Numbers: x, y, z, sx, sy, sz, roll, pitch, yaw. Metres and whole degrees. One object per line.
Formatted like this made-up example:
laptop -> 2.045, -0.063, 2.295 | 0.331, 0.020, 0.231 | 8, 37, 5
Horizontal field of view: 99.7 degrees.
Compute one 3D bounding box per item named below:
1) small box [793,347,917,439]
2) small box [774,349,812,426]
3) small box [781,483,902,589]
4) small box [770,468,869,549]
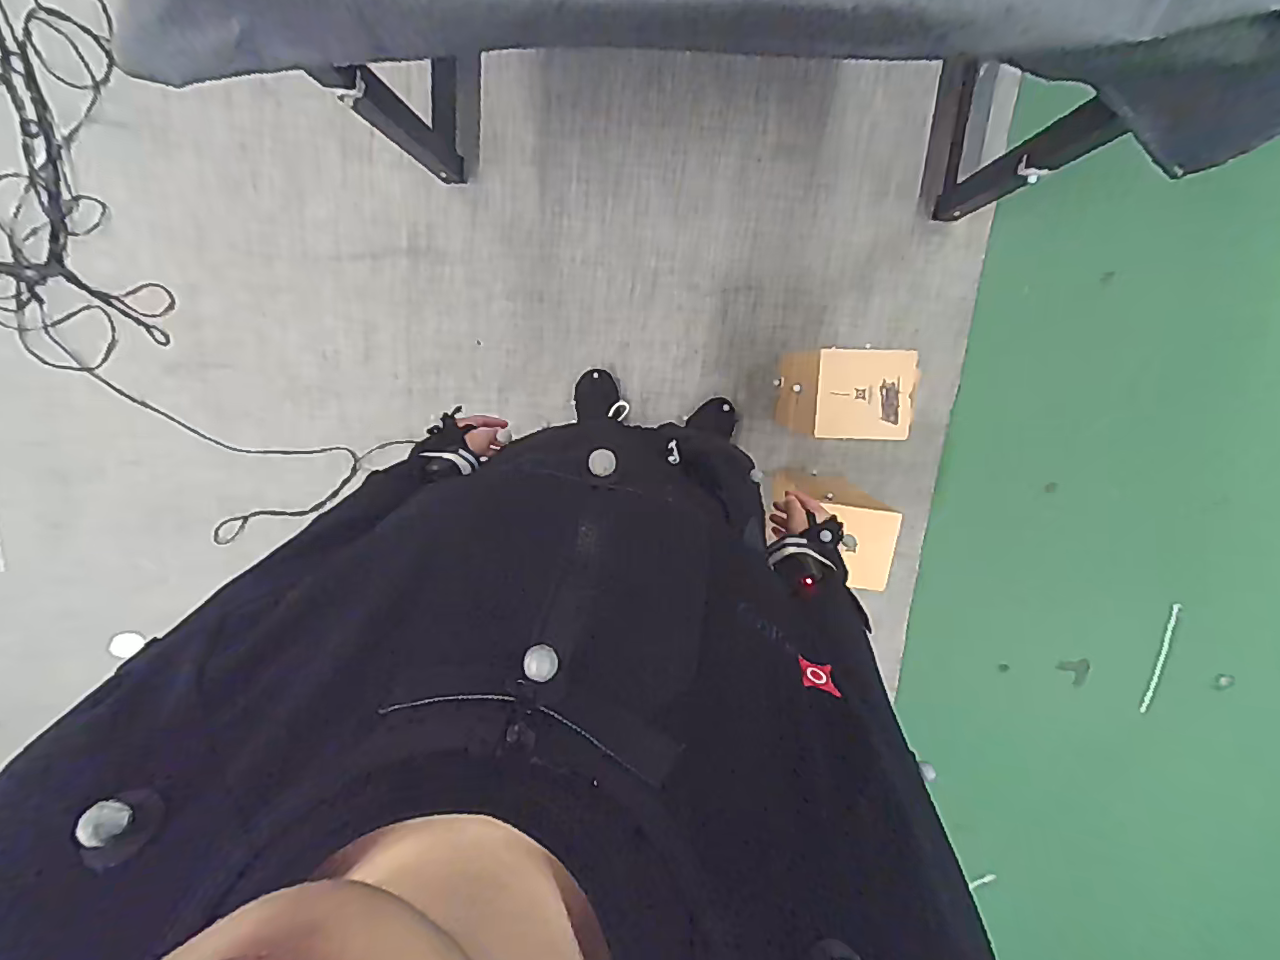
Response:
small box -> 0.413, -0.175, 1.065 | 0.179, 0.176, 0.168 | 1, 101, 3
small box -> 0.413, -0.209, 1.225 | 0.179, 0.176, 0.168 | 3, 102, 3
small box -> 0.409, 0.110, 1.127 | 0.179, 0.176, 0.168 | 7, 103, 1
small box -> 0.416, 0.072, 1.285 | 0.179, 0.176, 0.168 | 7, 103, 3
